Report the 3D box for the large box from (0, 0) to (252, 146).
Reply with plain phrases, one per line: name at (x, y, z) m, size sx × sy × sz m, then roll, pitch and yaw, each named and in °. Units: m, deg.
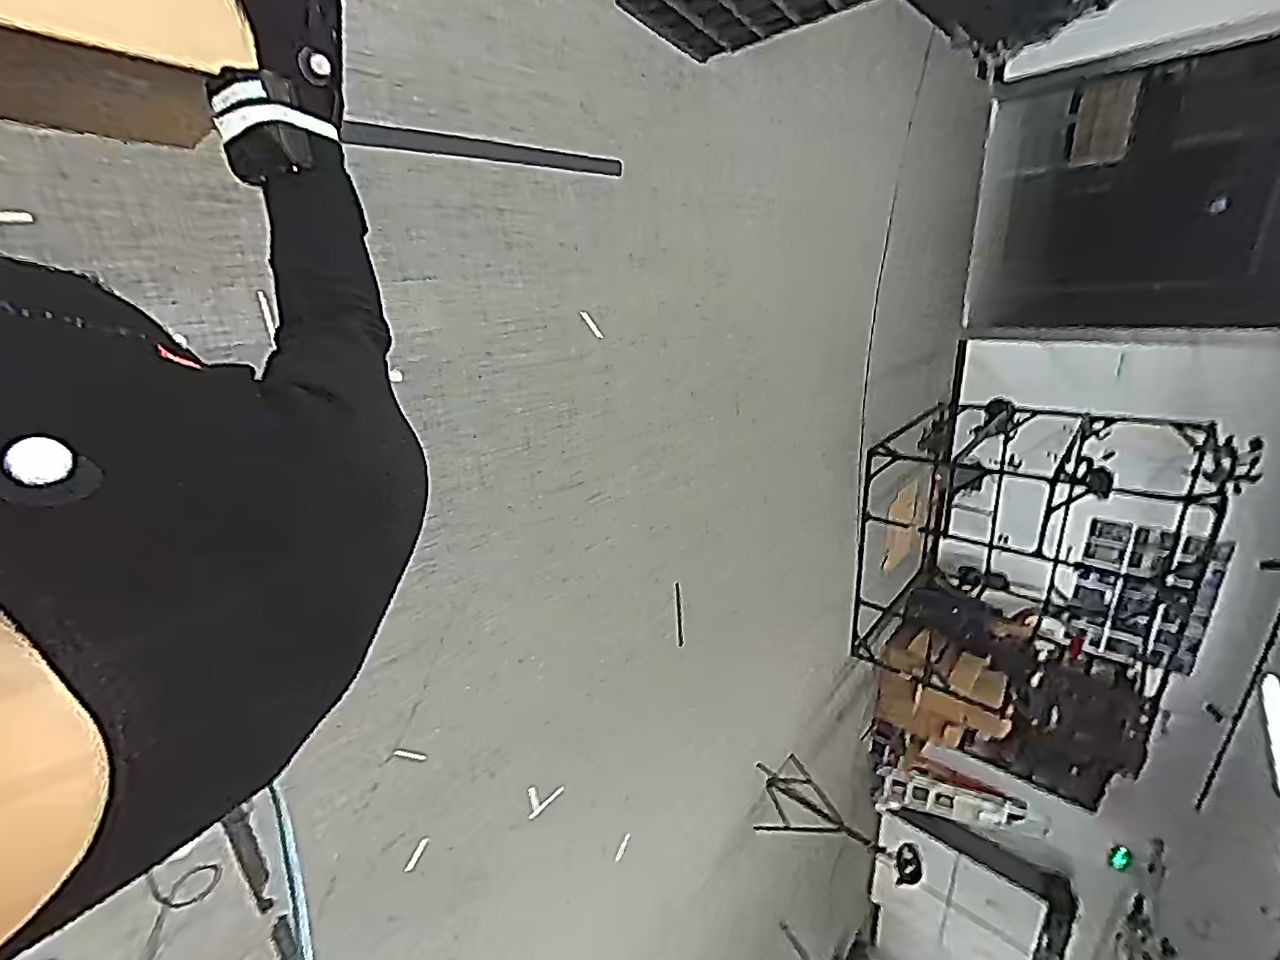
large box at (-0.536, -0.435, 0.324) m, size 0.408 × 0.320 × 0.320 m, roll -17°, pitch 117°, yaw -43°
